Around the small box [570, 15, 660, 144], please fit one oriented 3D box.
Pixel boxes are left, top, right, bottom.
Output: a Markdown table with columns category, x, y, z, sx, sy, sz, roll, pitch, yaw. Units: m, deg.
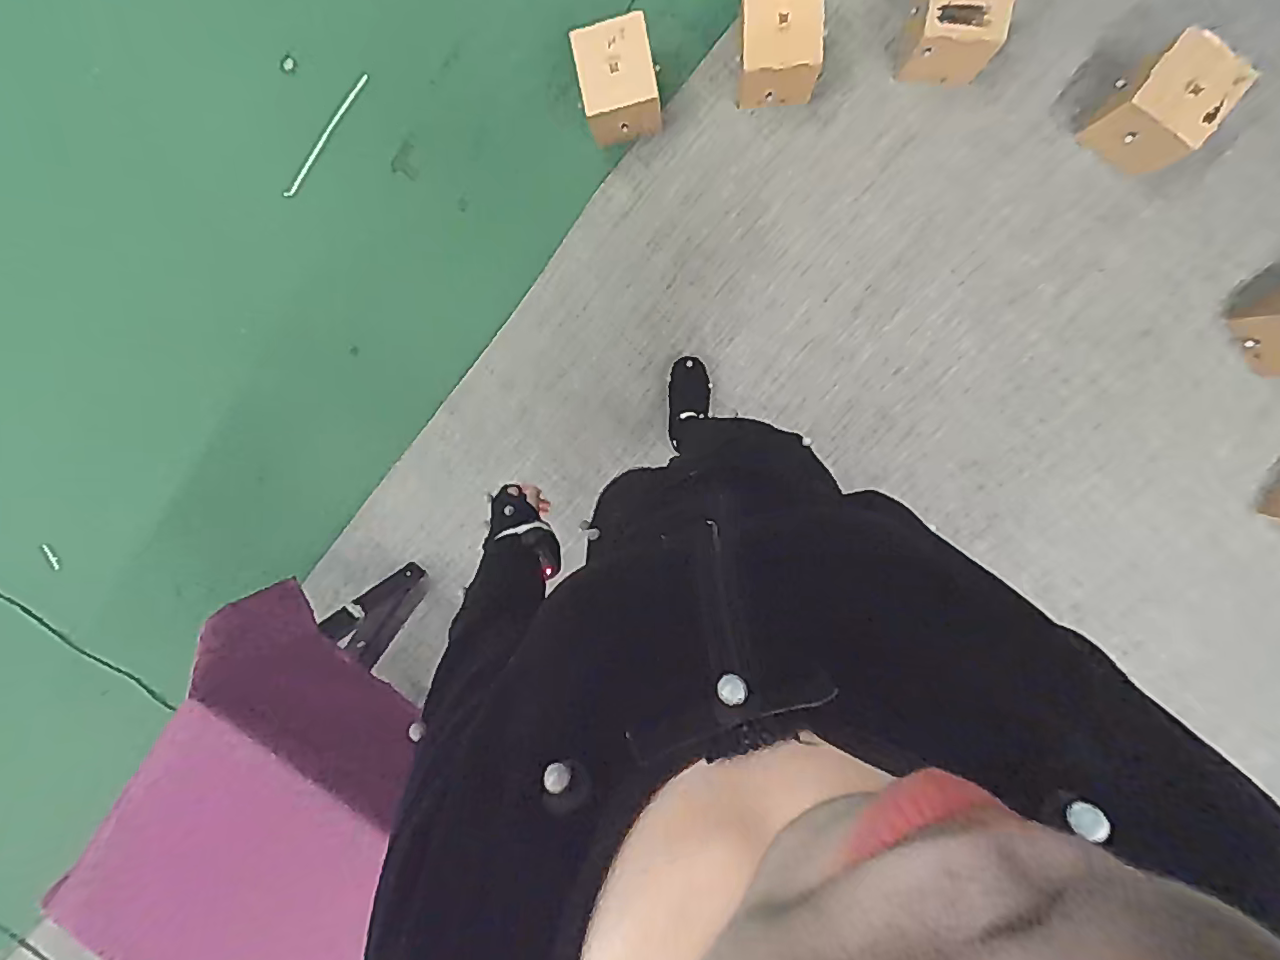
| category | x | y | z | sx | sy | sz | roll | pitch | yaw |
| --- | --- | --- | --- | --- | --- | --- | --- | --- | --- |
| small box | -0.051 | -0.911 | 1.255 | 0.168 | 0.176 | 0.179 | -11 | 98 | 6 |

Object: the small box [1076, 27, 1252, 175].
| category | x | y | z | sx | sy | sz | roll | pitch | yaw |
| --- | --- | --- | --- | --- | --- | --- | --- | --- | --- |
| small box | 1.111 | -0.801 | 1.167 | 0.179 | 0.176 | 0.168 | 35 | 102 | -1 |

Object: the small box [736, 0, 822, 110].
| category | x | y | z | sx | sy | sz | roll | pitch | yaw |
| --- | --- | --- | --- | --- | --- | --- | --- | --- | --- |
| small box | 0.305 | -0.972 | 1.214 | 0.168 | 0.176 | 0.179 | -2 | 100 | 6 |

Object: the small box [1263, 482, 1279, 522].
| category | x | y | z | sx | sy | sz | roll | pitch | yaw |
| --- | --- | --- | --- | --- | --- | --- | --- | --- | --- |
| small box | 1.657 | 0.049 | 1.268 | 0.168 | 0.176 | 0.179 | 23 | 102 | 1 |

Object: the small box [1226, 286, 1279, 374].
| category | x | y | z | sx | sy | sz | roll | pitch | yaw |
| --- | --- | --- | --- | --- | --- | --- | --- | --- | --- |
| small box | 1.508 | -0.354 | 1.211 | 0.179 | 0.176 | 0.168 | -35 | 95 | 10 |
